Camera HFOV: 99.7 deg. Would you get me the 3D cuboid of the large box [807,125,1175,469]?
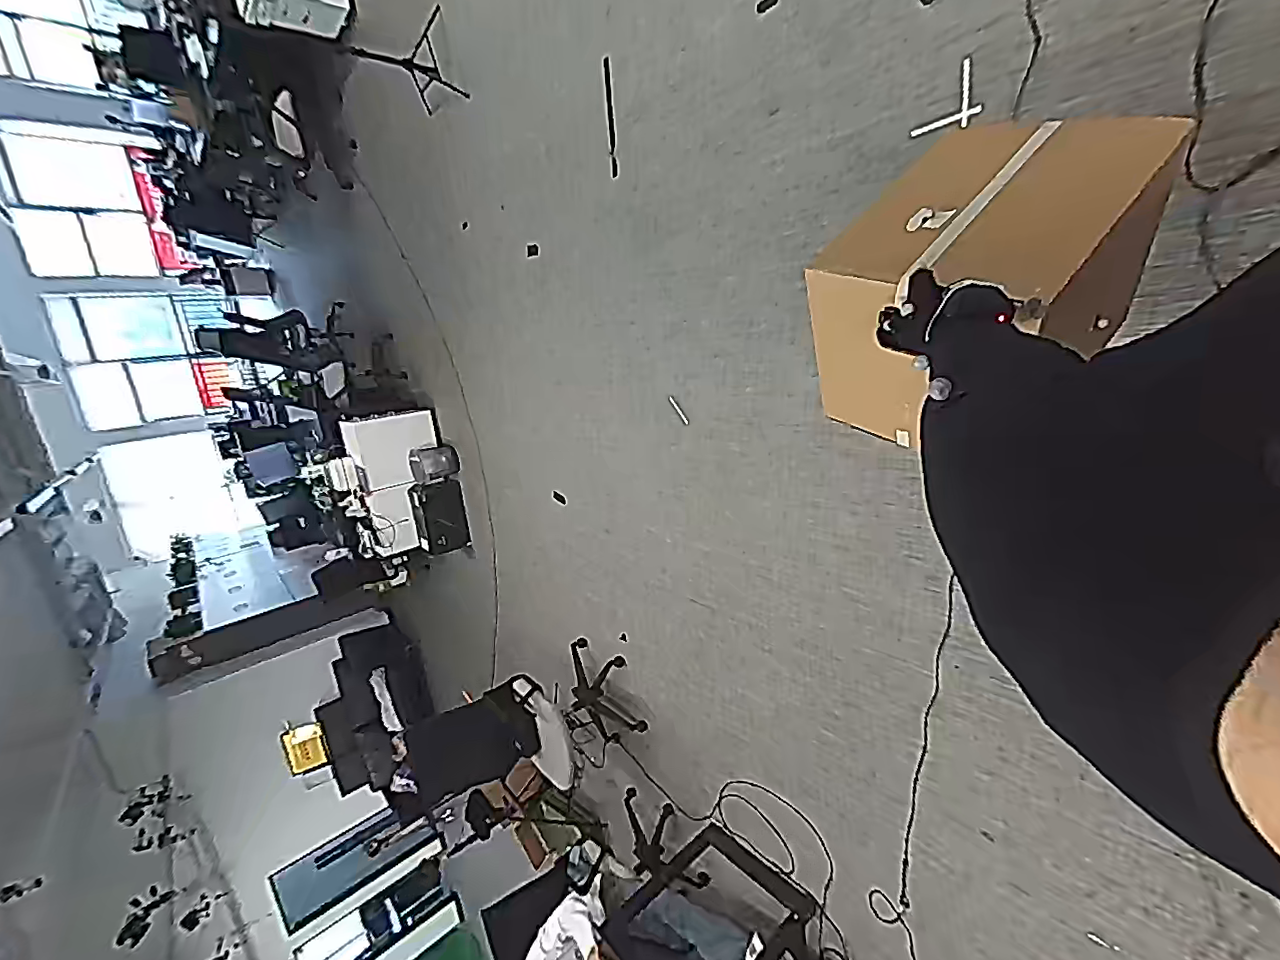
[{"bbox_3d":[0.528,-0.297,0.863,0.320,0.408,0.320,31,161,42],"label":"large box"}]
